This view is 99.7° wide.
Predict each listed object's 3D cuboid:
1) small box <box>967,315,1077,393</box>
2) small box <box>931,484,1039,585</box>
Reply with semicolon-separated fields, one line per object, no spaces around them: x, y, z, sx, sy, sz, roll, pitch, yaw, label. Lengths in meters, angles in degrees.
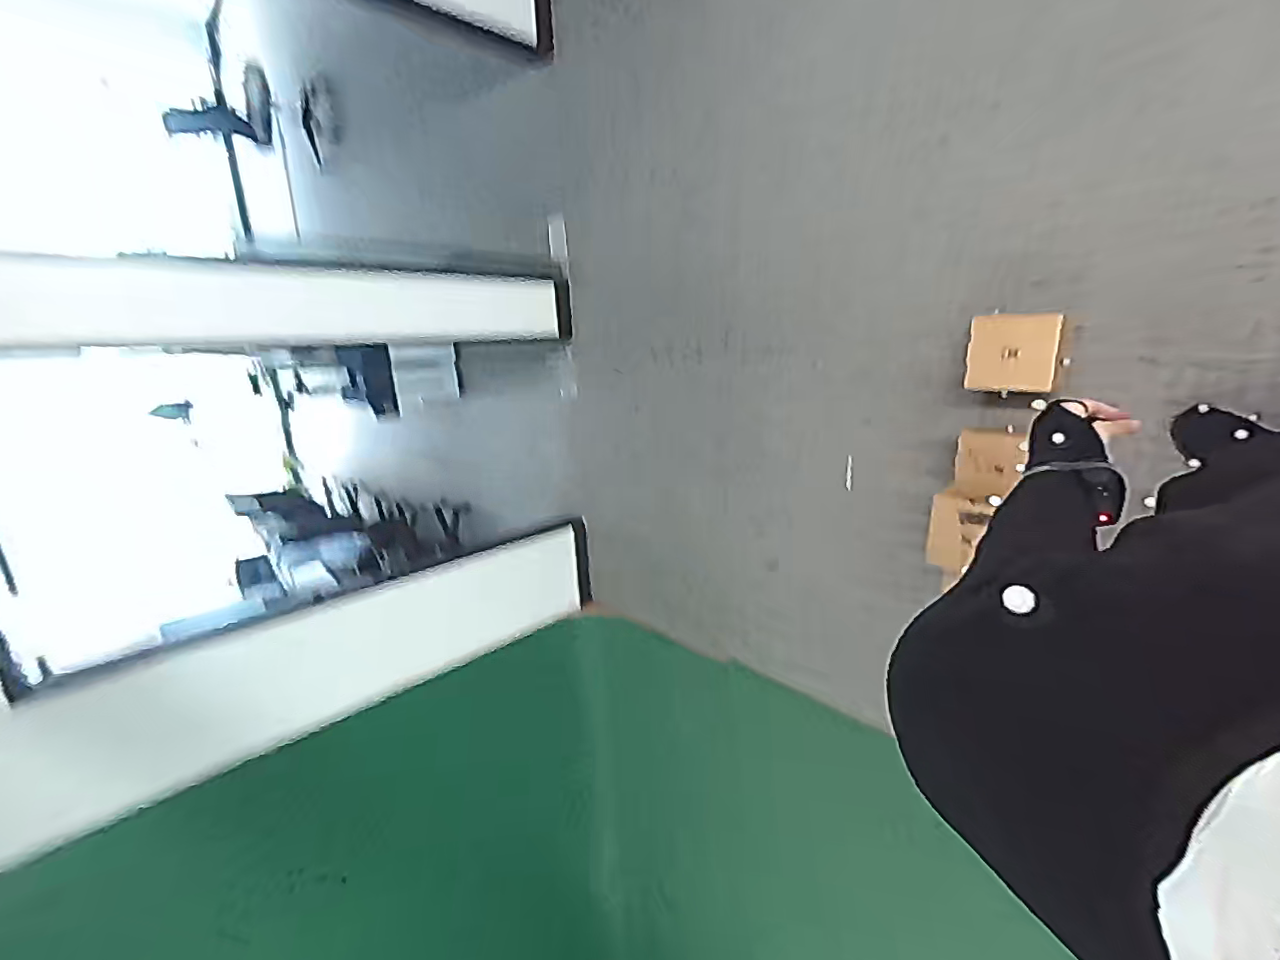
0.905;-0.300;1.279;0.179;0.176;0.168;12;110;46;small box
0.805;0.115;1.258;0.168;0.176;0.179;14;112;45;small box
